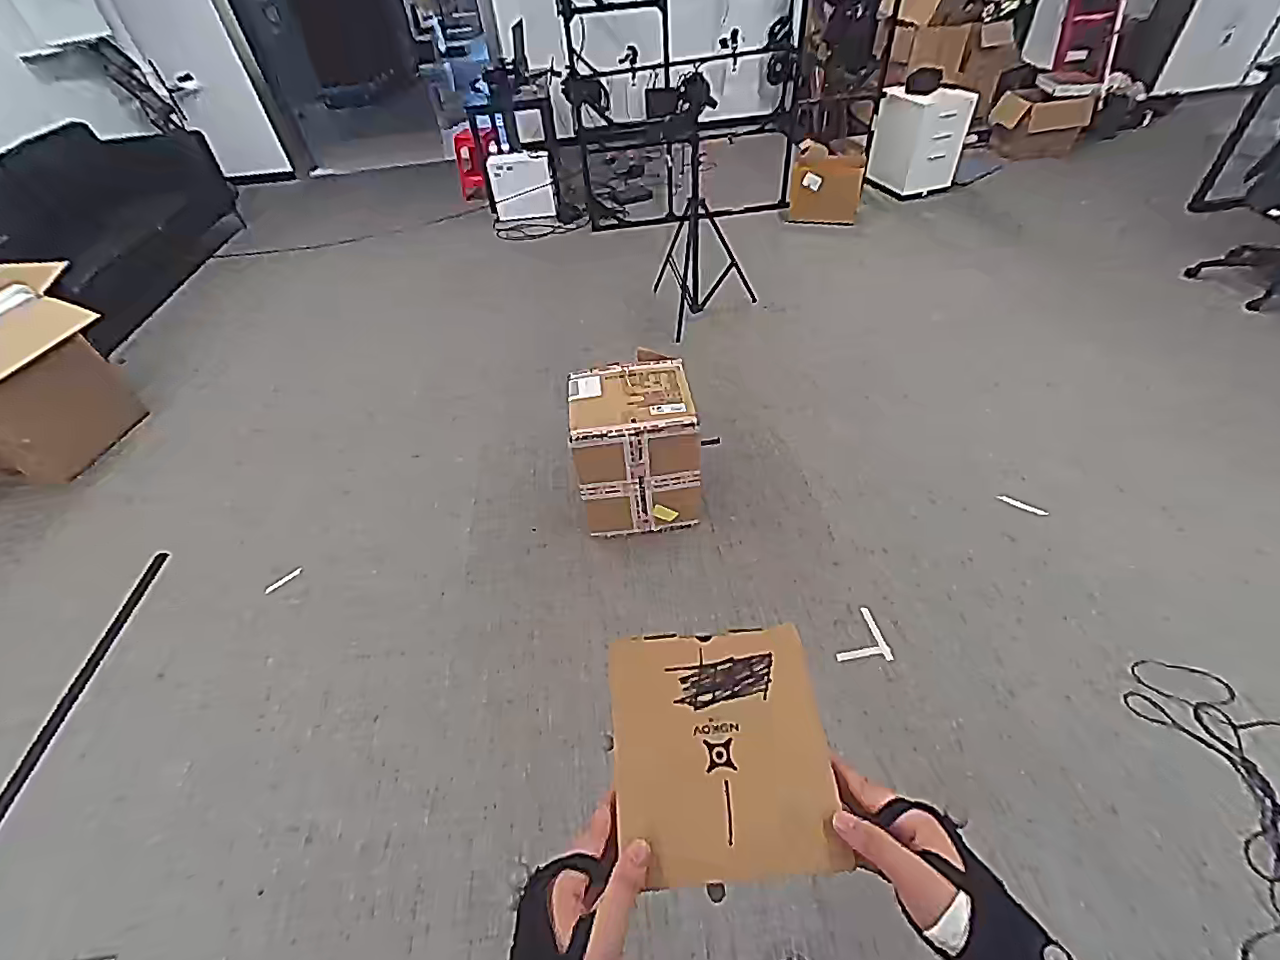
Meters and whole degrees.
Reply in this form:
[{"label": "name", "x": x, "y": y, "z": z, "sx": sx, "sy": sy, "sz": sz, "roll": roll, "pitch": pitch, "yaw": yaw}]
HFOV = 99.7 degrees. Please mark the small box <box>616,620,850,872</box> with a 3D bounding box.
[{"label": "small box", "x": 0.064, "y": 0.244, "z": 0.492, "sx": 0.168, "sy": 0.176, "sz": 0.179, "roll": -4, "pitch": 56, "yaw": -1}]
